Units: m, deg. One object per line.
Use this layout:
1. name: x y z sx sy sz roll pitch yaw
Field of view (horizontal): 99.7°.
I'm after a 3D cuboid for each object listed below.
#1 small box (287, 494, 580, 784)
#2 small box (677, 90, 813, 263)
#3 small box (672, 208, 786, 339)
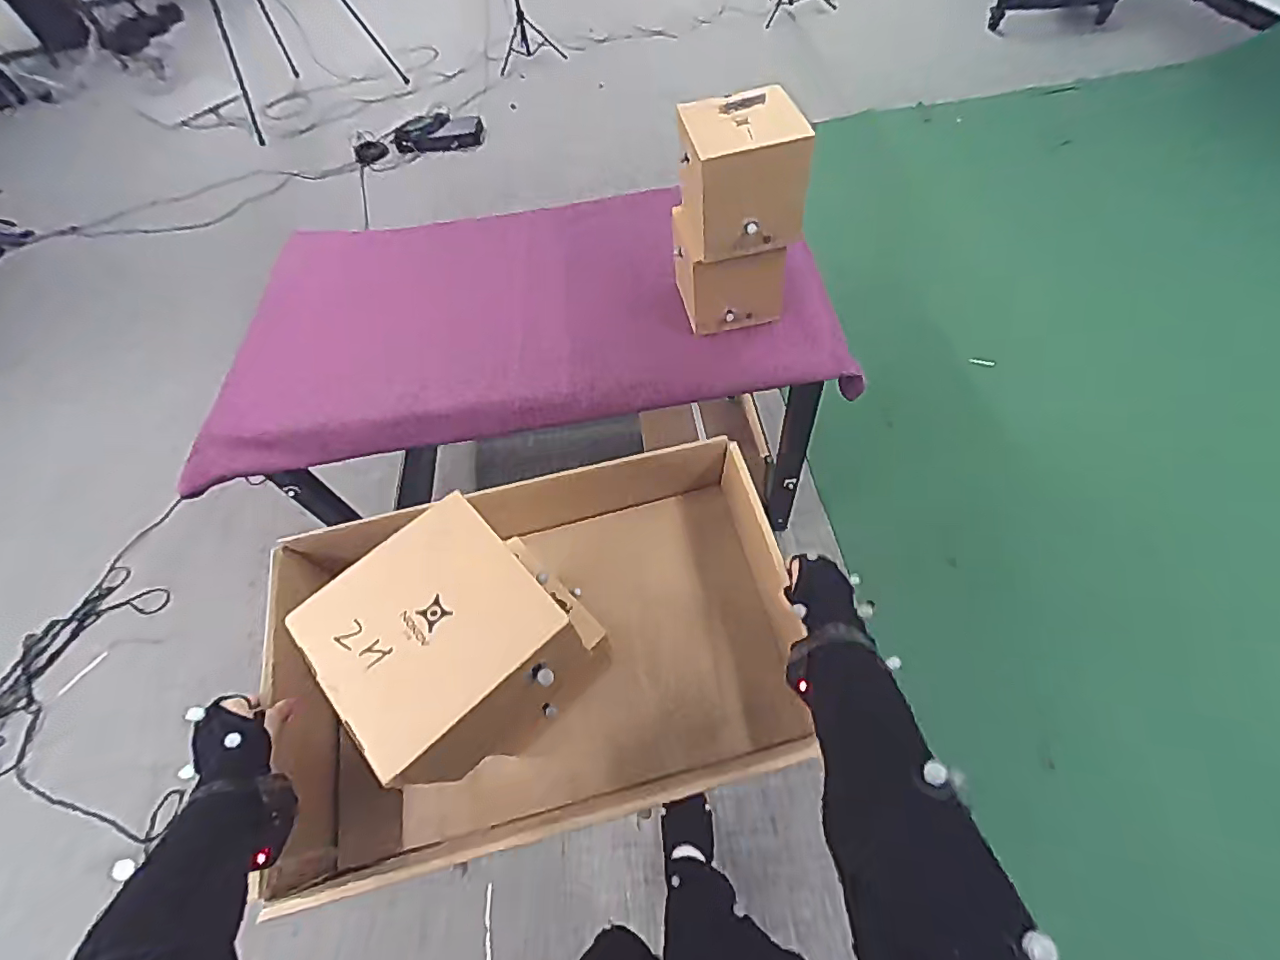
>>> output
1. small box: -0.171 0.151 0.510 0.179 0.176 0.168 -40 67 -17
2. small box: 0.157 -0.476 0.856 0.168 0.176 0.179 -12 56 2
3. small box: 0.158 -0.392 0.999 0.168 0.176 0.179 -12 55 1
